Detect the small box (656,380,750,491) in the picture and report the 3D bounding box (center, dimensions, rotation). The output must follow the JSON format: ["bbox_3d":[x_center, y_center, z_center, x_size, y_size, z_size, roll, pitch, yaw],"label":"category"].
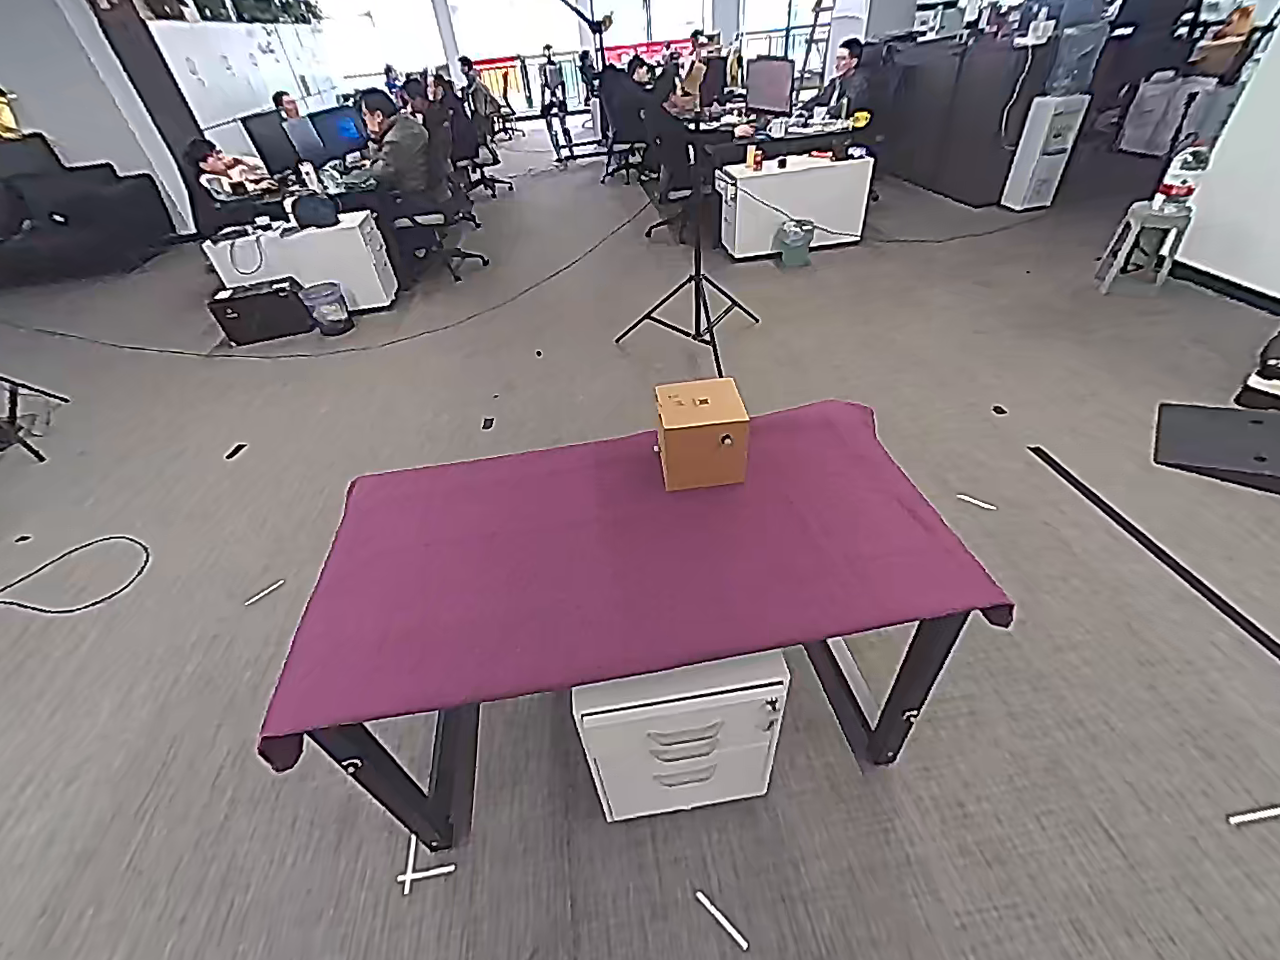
[{"bbox_3d":[0.132,-0.095,1.178,0.179,0.176,0.168,-7,41,0],"label":"small box"}]
